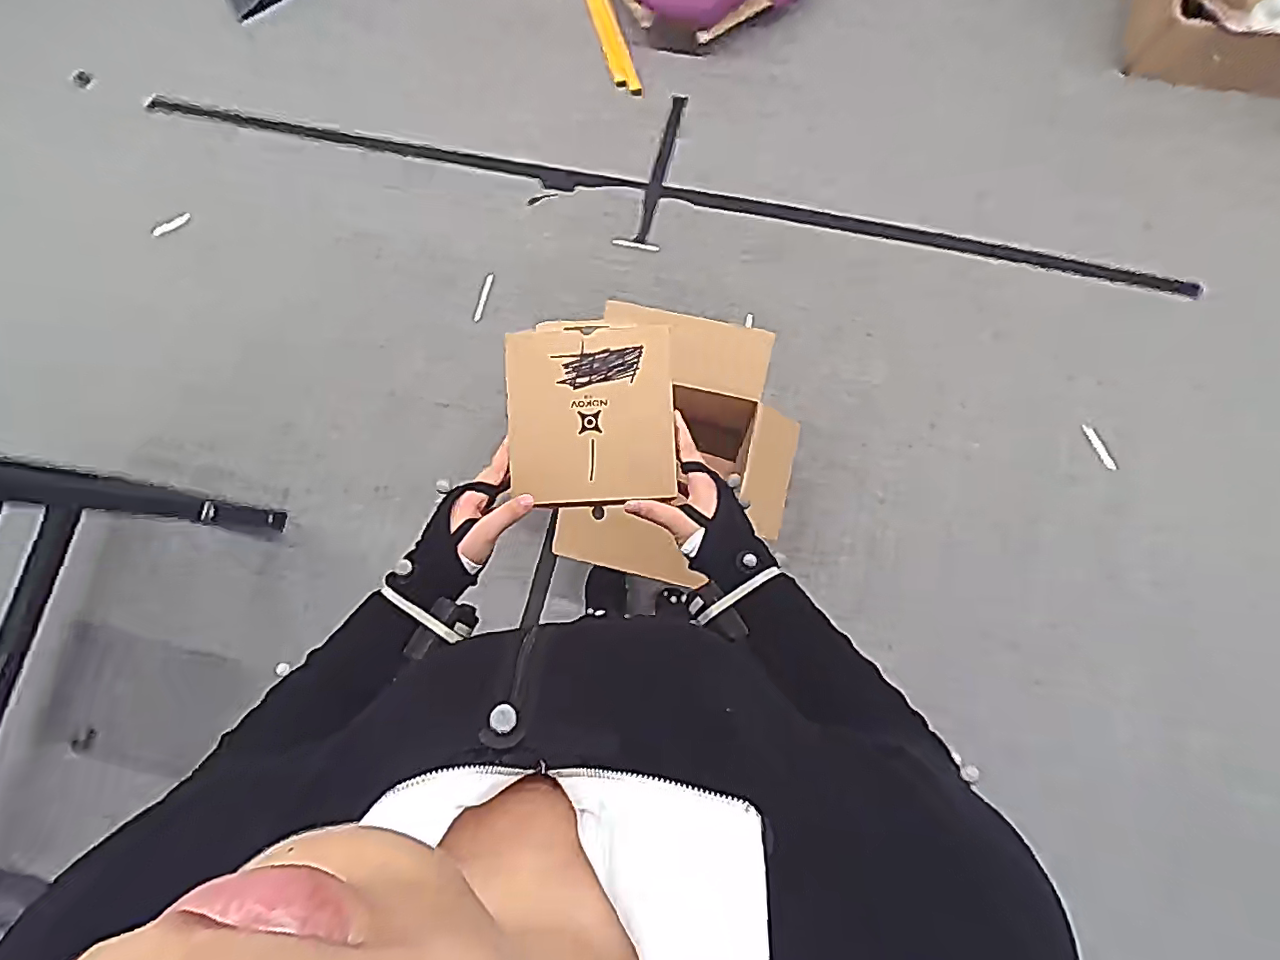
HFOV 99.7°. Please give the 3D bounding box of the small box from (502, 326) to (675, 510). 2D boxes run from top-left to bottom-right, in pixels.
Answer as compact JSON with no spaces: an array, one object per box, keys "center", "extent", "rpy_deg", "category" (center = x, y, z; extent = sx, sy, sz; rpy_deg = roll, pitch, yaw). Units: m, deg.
[{"center":[-0.053,-0.058,0.612],"extent":[0.168,0.176,0.179],"rpy_deg":[-4,87,0],"category":"small box"}]
